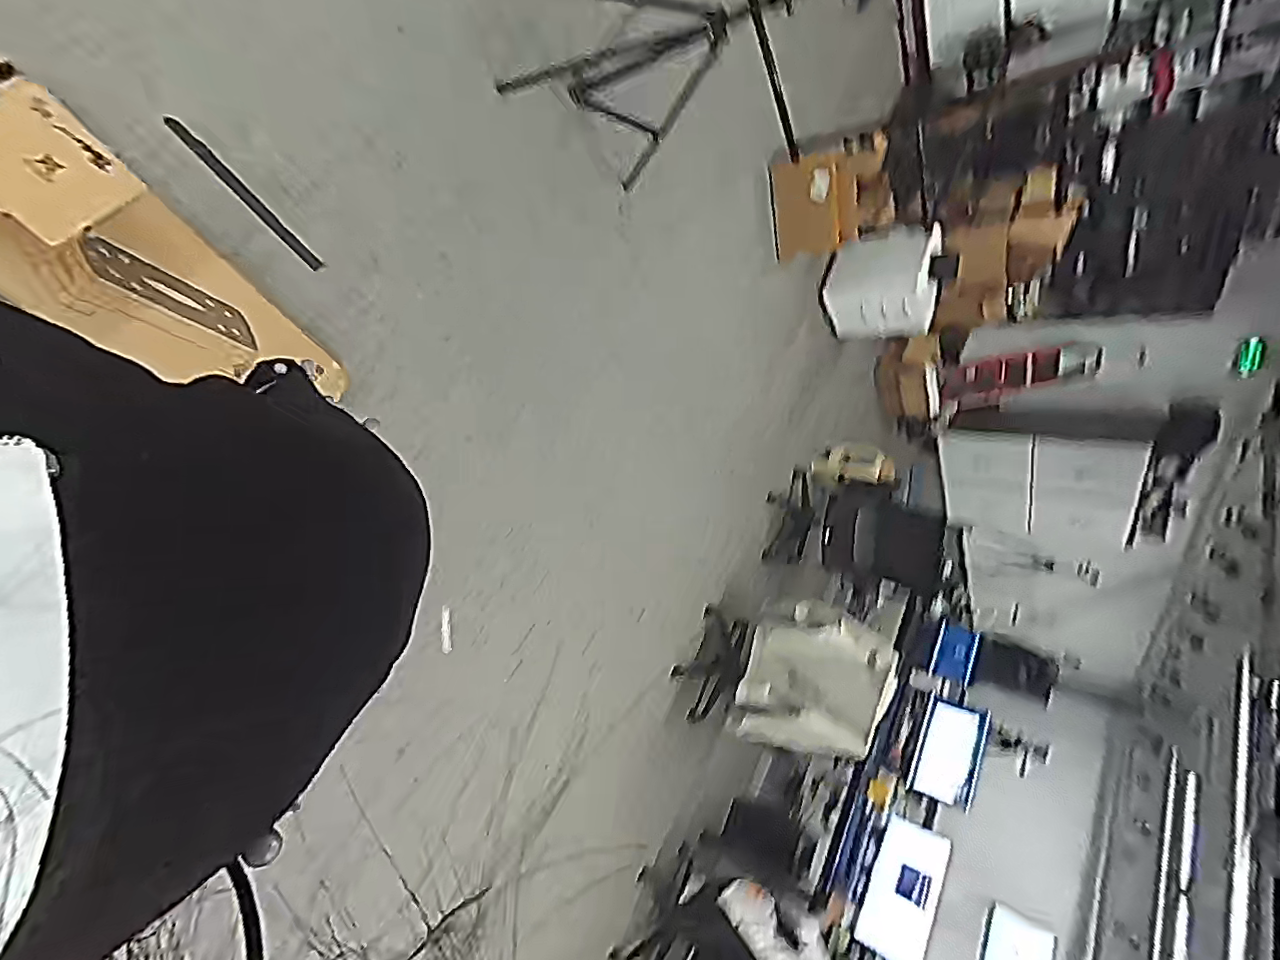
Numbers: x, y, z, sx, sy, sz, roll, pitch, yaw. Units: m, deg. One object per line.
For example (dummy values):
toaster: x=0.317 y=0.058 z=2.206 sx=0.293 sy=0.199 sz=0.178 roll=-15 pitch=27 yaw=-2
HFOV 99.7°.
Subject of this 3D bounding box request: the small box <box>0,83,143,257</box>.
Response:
small box: x=-0.959 y=-0.480 z=0.863 sx=0.179 sy=0.176 sz=0.168 roll=-57 pitch=136 yaw=-24
